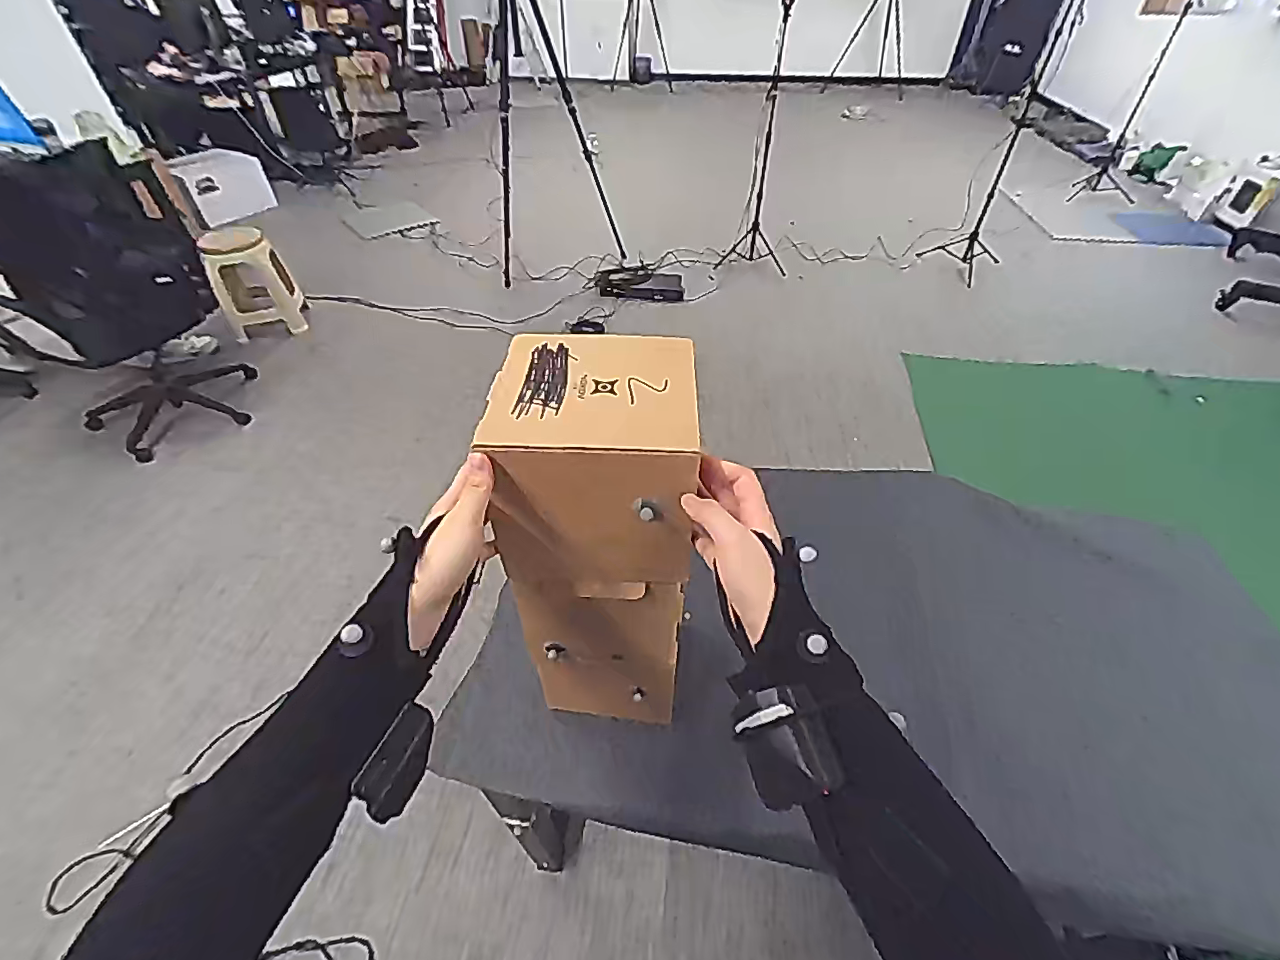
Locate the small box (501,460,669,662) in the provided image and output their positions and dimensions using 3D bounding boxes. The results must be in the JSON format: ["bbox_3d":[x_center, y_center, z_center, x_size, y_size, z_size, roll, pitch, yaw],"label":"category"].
[{"bbox_3d":[-0.051,0.097,0.638,0.168,0.176,0.179,2,42,2],"label":"small box"}]

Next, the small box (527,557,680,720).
[{"bbox_3d":[-0.041,0.215,0.753,0.179,0.176,0.168,4,43,6],"label":"small box"}]
